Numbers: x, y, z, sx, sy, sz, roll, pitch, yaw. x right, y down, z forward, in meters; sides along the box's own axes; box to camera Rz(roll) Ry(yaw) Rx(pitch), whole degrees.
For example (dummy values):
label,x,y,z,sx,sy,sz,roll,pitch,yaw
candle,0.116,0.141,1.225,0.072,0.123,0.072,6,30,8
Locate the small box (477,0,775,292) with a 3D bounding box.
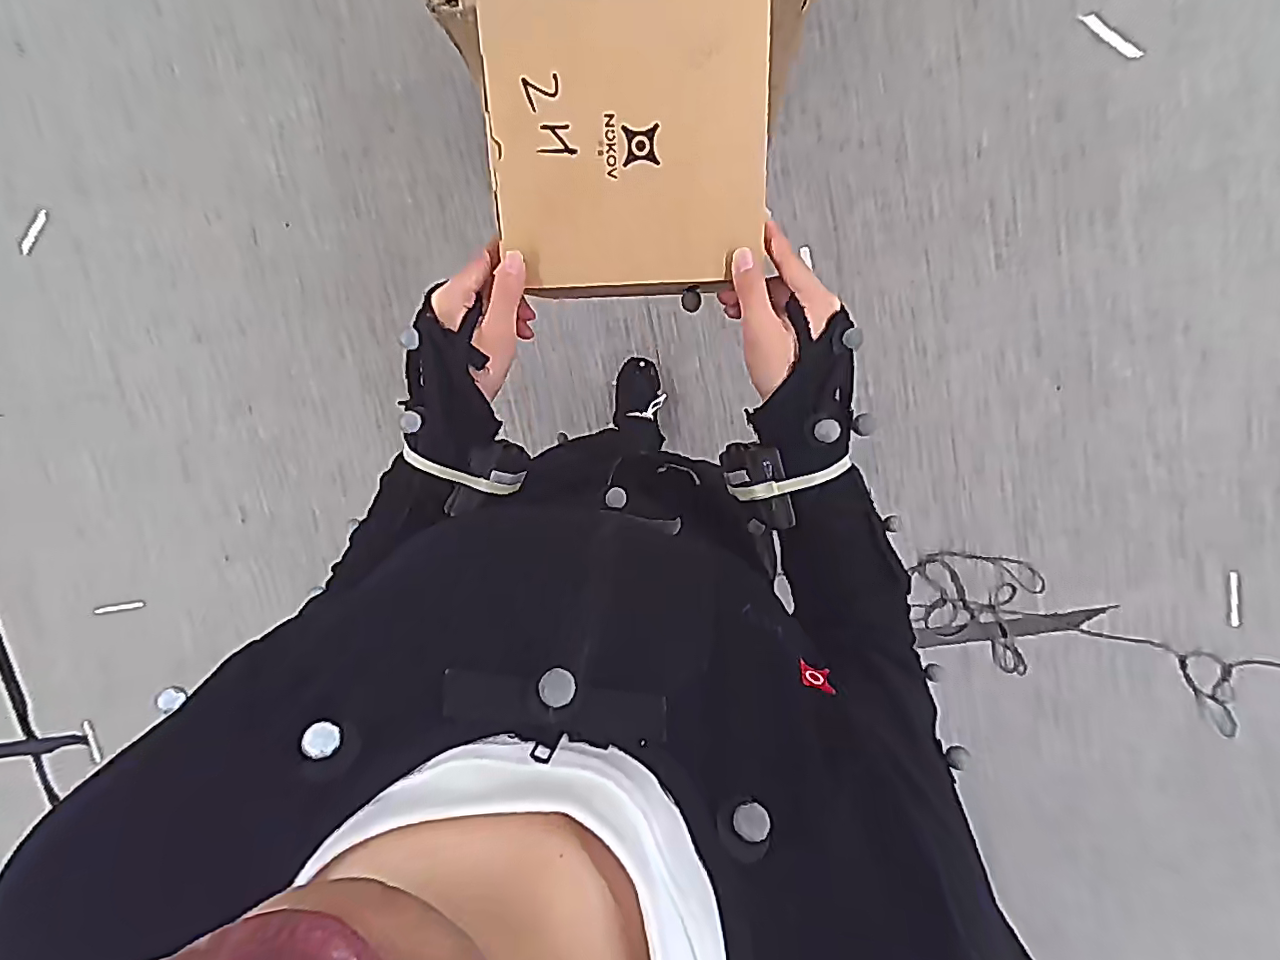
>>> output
label,x,y,z,sx,sy,sz,roll,pitch,yaw
small box,-0.006,-0.235,0.410,0.179,0.176,0.168,-1,106,2
